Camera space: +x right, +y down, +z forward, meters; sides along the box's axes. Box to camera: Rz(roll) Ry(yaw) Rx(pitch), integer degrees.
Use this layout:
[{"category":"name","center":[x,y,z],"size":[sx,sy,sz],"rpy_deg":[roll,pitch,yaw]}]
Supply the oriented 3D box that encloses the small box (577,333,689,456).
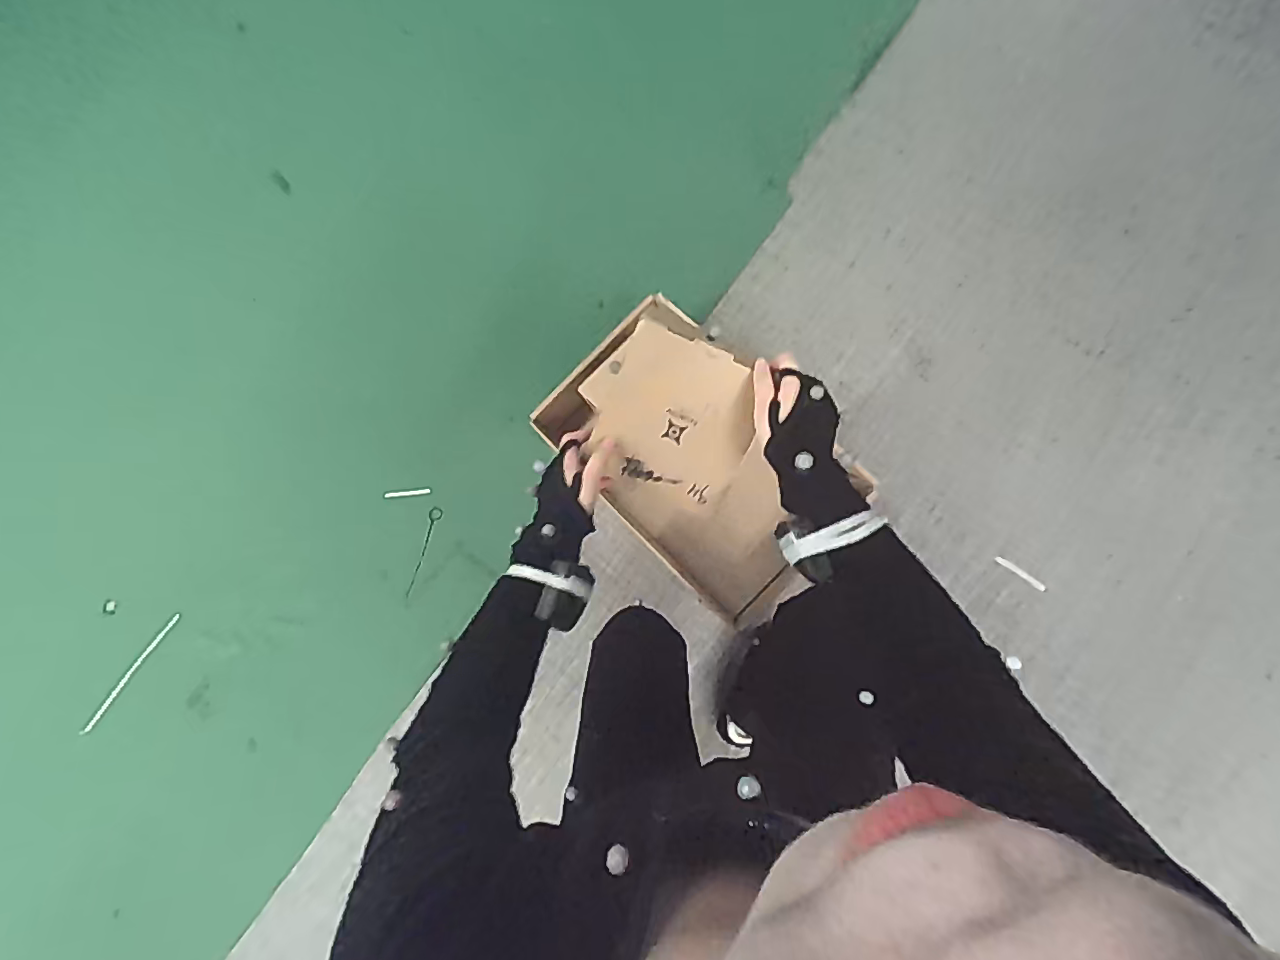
[{"category":"small box","center":[-0.005,-0.175,1.169],"size":[0.179,0.176,0.168],"rpy_deg":[-44,79,-1]}]
